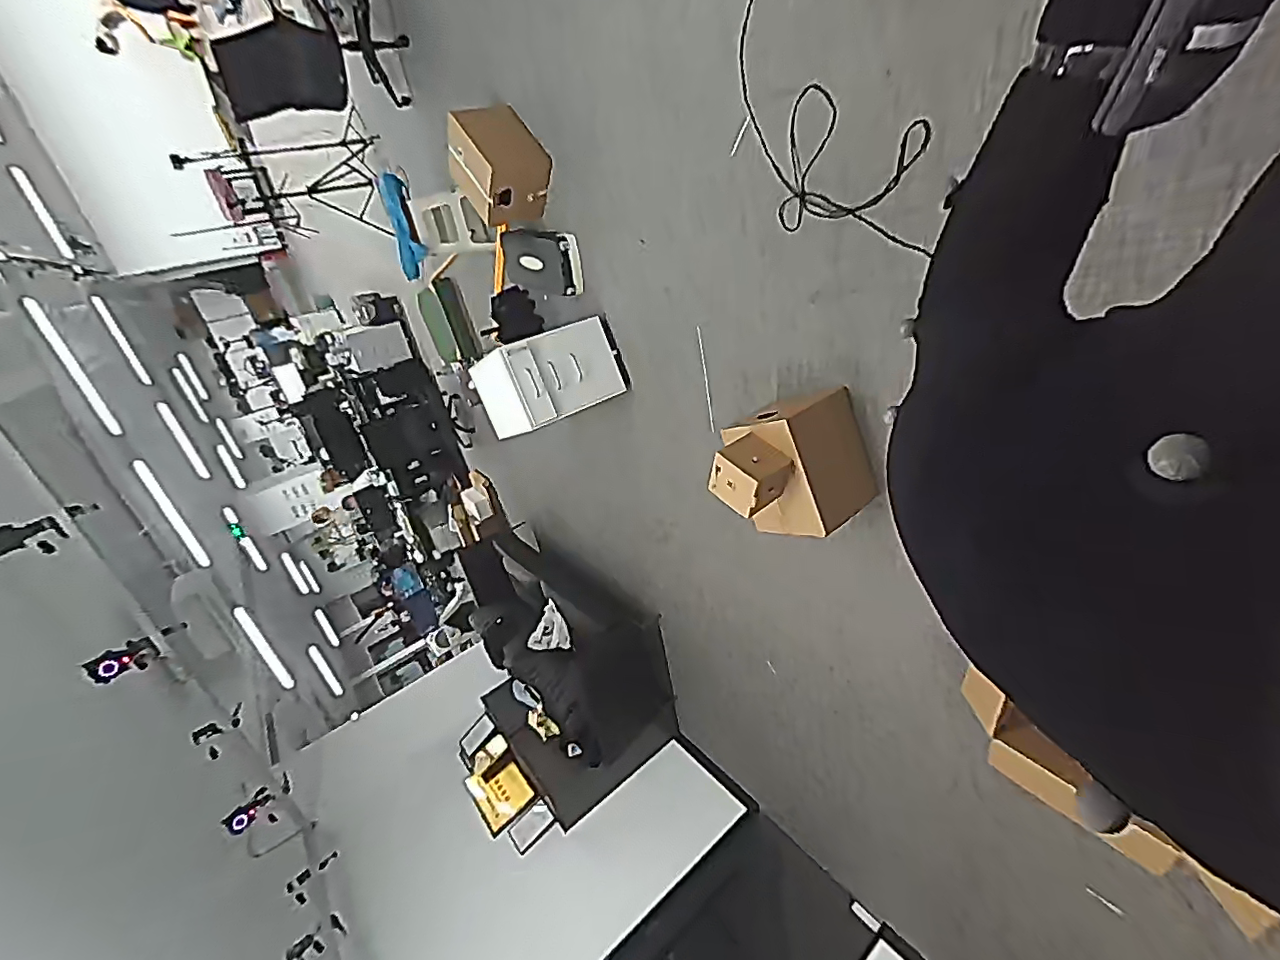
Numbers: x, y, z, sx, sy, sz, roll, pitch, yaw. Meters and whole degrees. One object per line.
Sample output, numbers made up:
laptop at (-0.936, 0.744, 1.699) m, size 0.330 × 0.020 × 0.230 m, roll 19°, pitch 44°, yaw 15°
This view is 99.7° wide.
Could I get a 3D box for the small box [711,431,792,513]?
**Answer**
small box at (0.356, -0.032, 1.724) m, size 0.179 × 0.176 × 0.168 m, roll 40°, pitch 144°, yaw 31°
